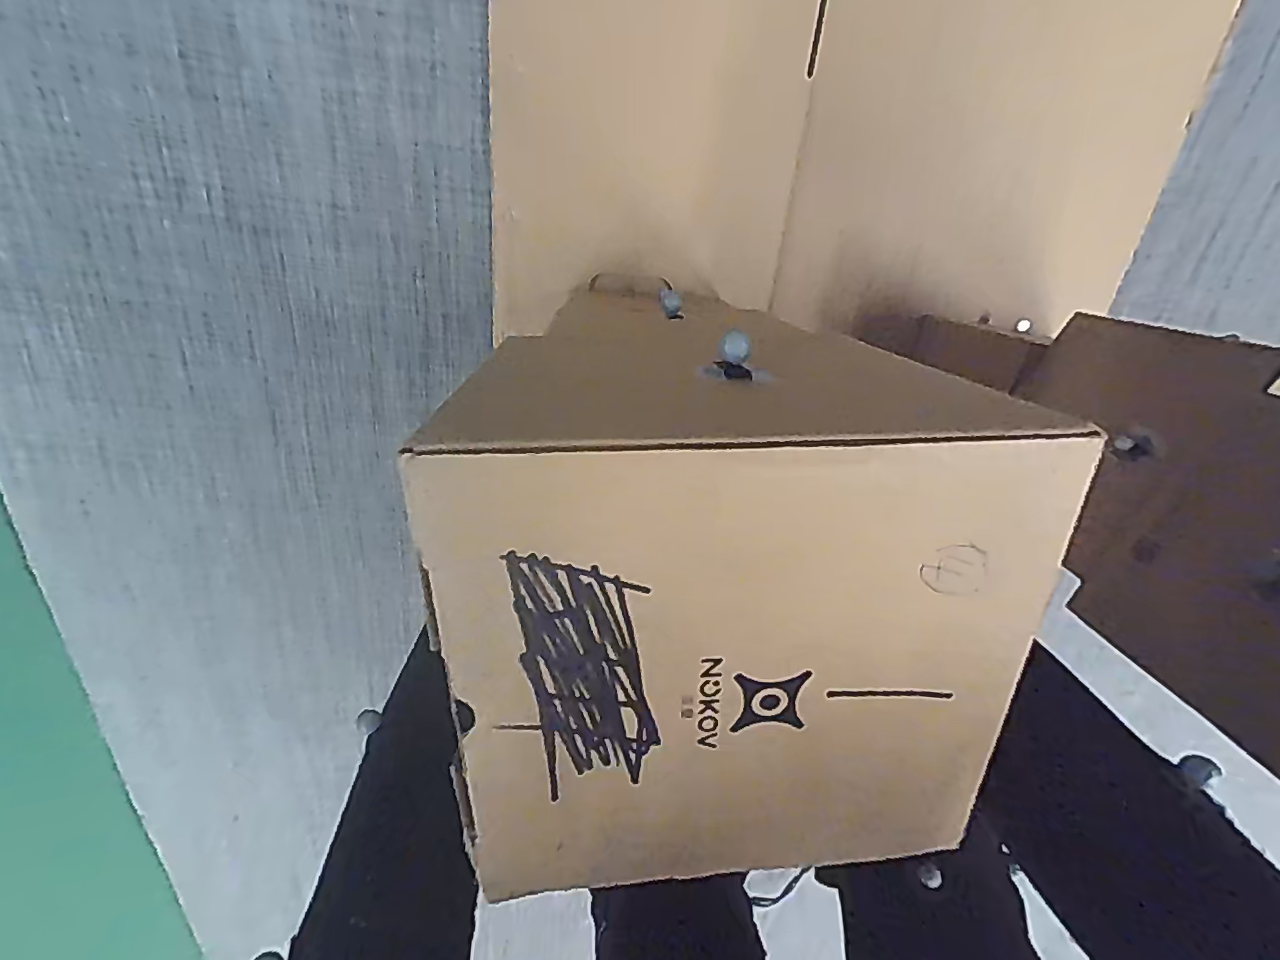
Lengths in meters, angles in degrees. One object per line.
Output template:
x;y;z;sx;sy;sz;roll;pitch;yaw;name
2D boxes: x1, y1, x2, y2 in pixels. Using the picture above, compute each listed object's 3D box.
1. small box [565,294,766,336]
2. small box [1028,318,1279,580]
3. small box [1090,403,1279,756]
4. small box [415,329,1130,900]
0.014;-0.084;0.539;0.168;0.176;0.179;1;113;-5;small box
0.407;-0.008;0.425;0.168;0.176;0.179;23;111;-14;small box
0.405;0.071;0.281;0.179;0.176;0.168;15;112;-10;small box
0.028;0.032;0.231;0.179;0.176;0.168;-2;114;-5;small box
